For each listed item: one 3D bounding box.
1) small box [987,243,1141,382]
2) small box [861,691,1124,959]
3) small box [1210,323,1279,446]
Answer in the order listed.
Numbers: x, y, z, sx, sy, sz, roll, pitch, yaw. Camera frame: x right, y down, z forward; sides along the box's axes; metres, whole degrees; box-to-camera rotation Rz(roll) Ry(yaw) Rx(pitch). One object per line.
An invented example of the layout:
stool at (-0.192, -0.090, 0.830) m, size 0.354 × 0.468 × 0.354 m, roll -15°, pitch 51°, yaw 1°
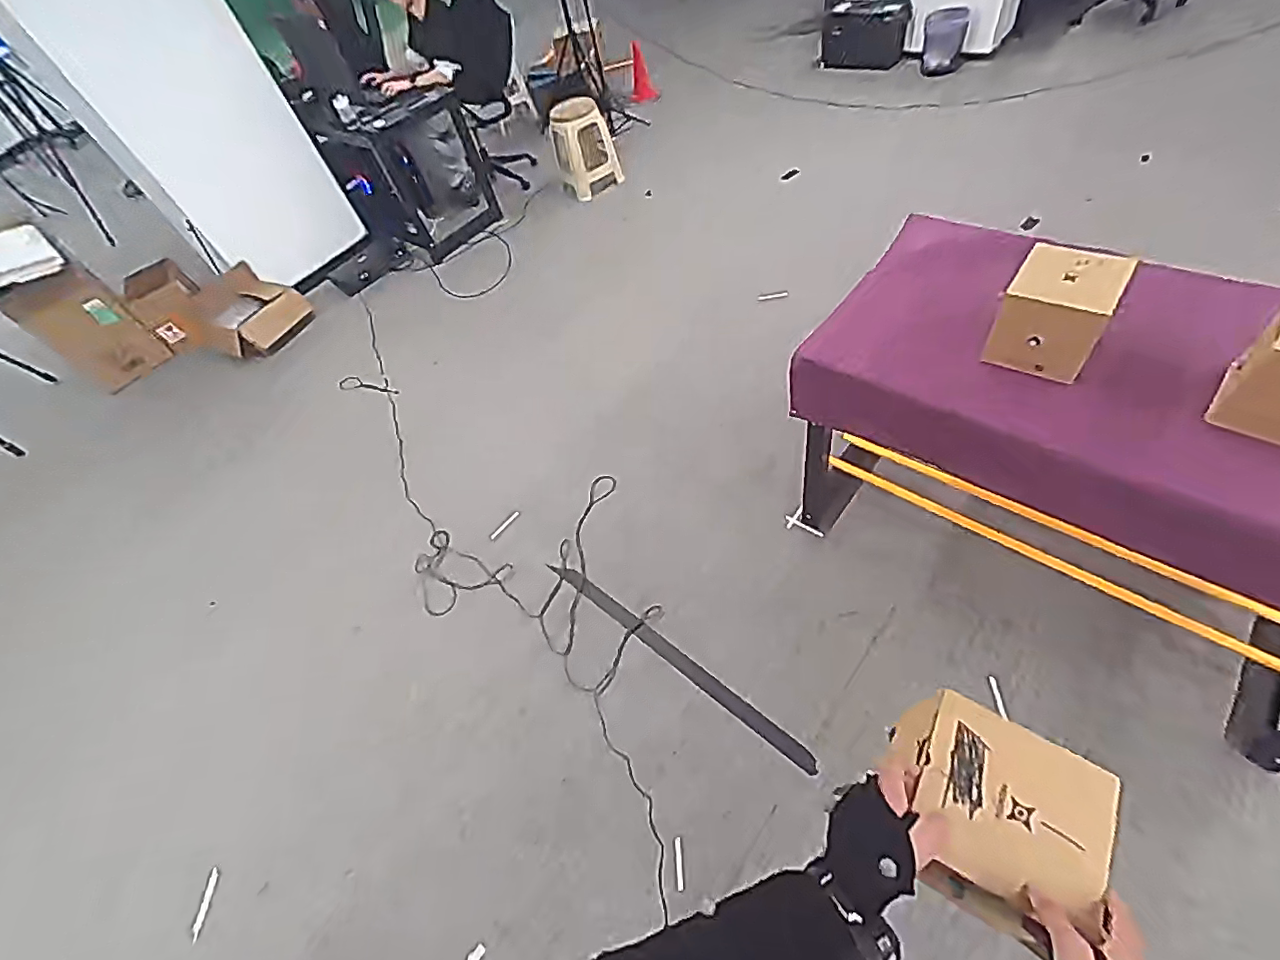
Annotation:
small box at (0.802, -0.320, 1.043) m, size 0.168 × 0.176 × 0.179 m, roll 29°, pitch 65°, yaw 29°
small box at (0.371, 0.369, 0.597) m, size 0.179 × 0.176 × 0.168 m, roll 26°, pitch 62°, yaw 18°
small box at (1.085, -0.158, 0.856) m, size 0.179 × 0.176 × 0.168 m, roll 33°, pitch 67°, yaw 32°
